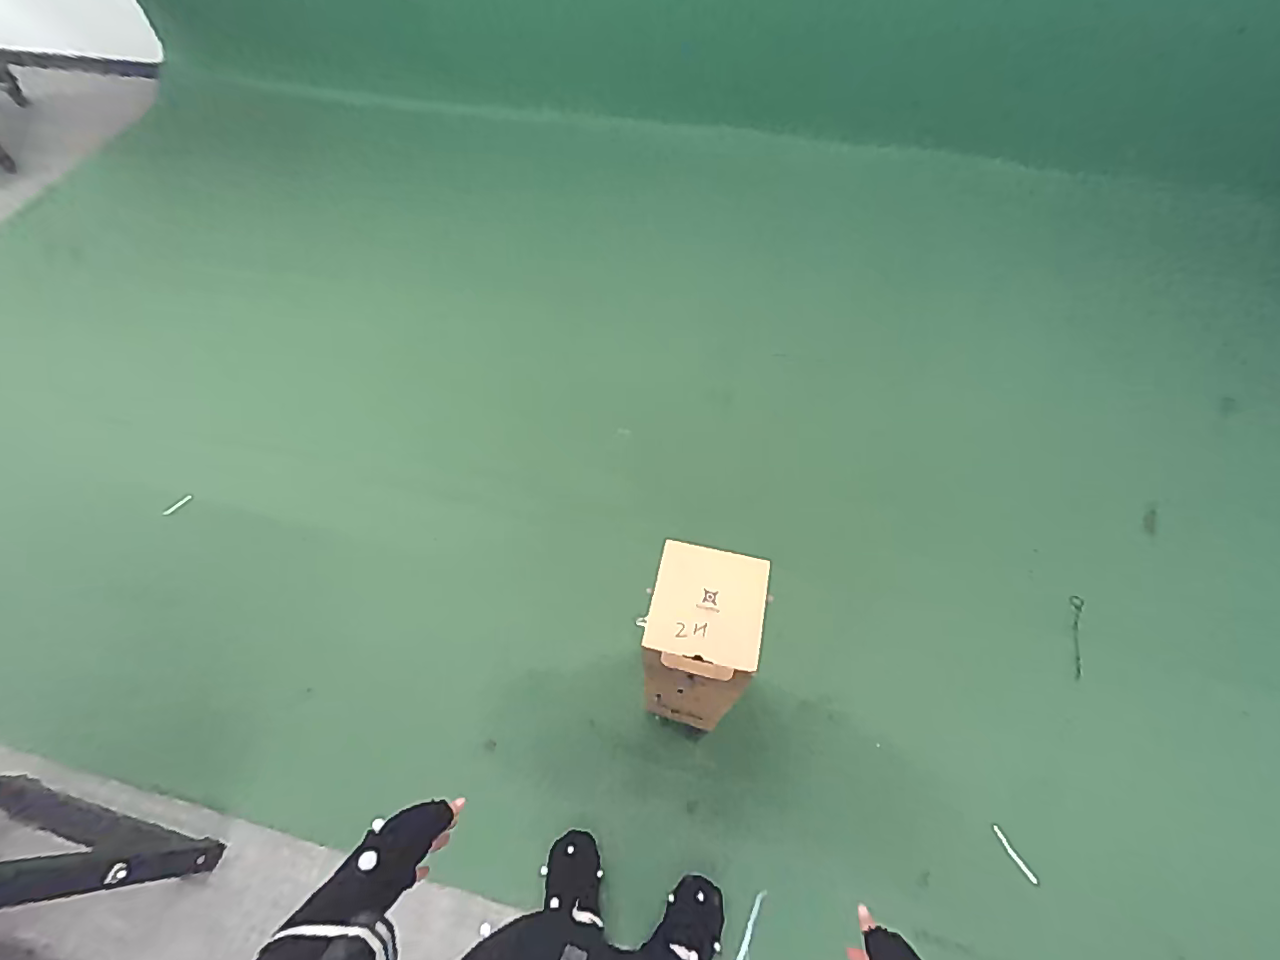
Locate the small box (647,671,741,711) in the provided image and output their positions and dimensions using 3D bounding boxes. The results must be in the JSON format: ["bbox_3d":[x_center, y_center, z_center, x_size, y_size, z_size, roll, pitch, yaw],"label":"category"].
[{"bbox_3d":[0.108,0.313,1.013,0.168,0.176,0.179,12,60,8],"label":"small box"}]

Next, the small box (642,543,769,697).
[{"bbox_3d":[0.101,0.229,0.871,0.168,0.176,0.179,11,60,8],"label":"small box"}]

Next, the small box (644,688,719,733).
[{"bbox_3d":[0.114,0.486,1.291,0.168,0.176,0.179,14,60,9],"label":"small box"}]
